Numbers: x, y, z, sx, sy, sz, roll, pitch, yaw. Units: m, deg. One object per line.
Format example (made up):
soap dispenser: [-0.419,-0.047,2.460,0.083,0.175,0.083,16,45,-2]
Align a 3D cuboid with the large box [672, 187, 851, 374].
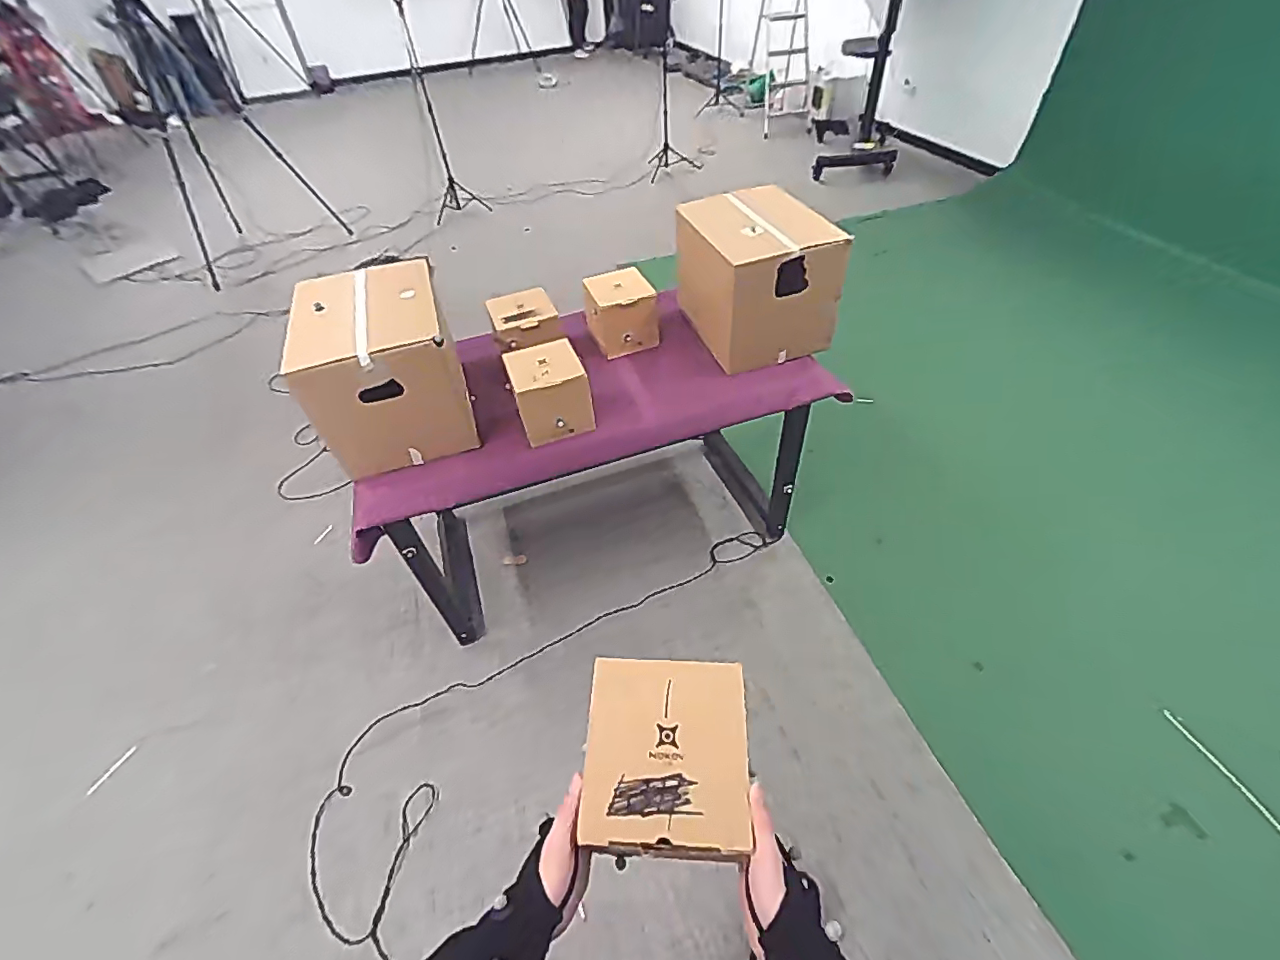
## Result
large box: [0.303,-0.556,1.494,0.320,0.320,0.408,-17,49,-9]

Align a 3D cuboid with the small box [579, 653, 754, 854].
small box: [0.031,0.311,0.610,0.168,0.176,0.179,1,52,3]

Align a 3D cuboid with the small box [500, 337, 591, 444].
small box: [-0.228,-0.216,1.311,0.168,0.176,0.179,-18,47,-12]
